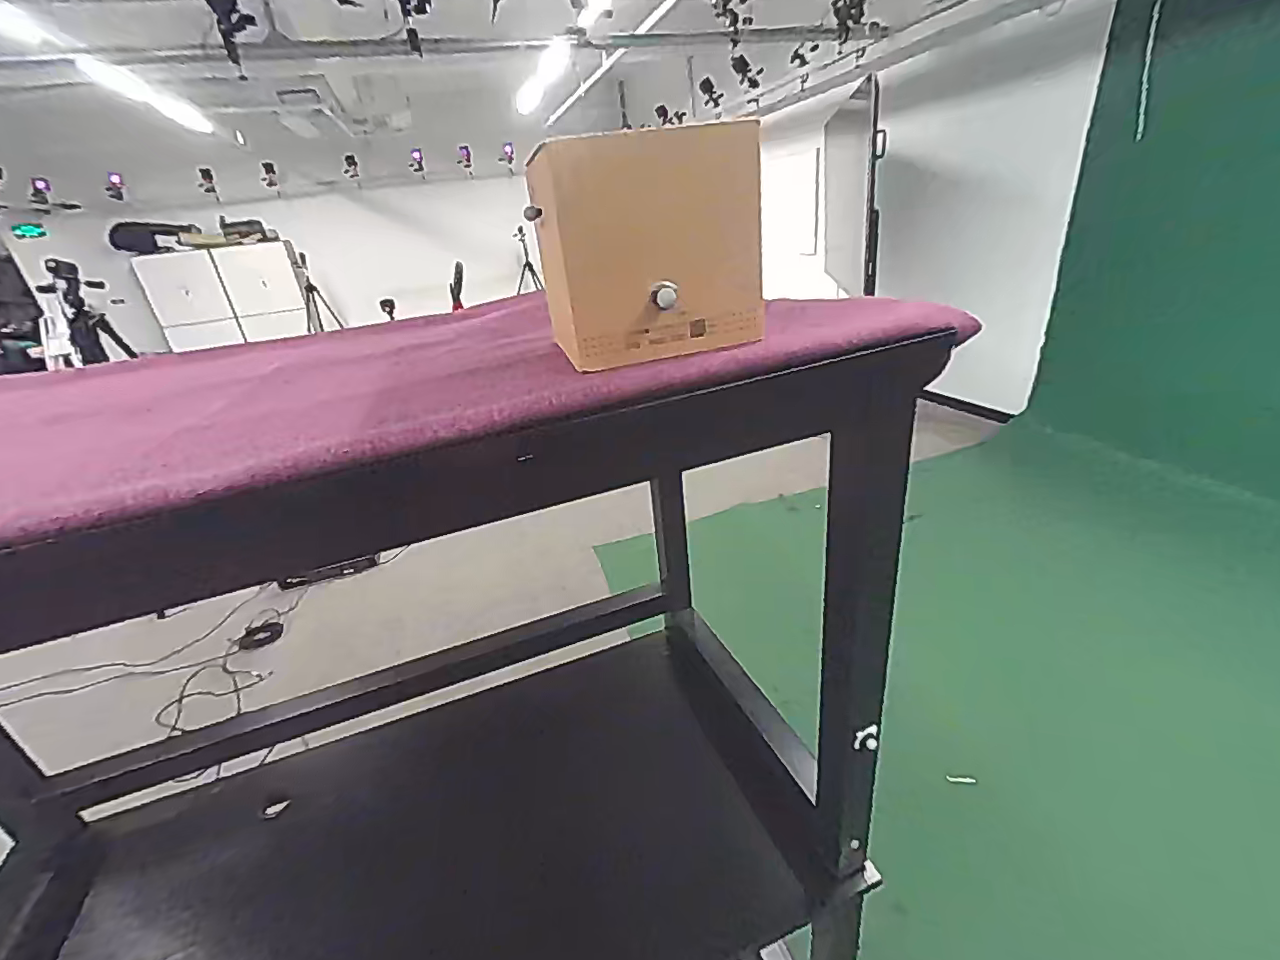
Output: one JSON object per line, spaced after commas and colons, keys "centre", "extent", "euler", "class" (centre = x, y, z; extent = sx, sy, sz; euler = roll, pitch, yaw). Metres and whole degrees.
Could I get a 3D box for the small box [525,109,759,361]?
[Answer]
{"centre": [-0.004, -0.214, 0.490], "extent": [0.168, 0.176, 0.179], "euler": [-13, 27, -10], "class": "small box"}
